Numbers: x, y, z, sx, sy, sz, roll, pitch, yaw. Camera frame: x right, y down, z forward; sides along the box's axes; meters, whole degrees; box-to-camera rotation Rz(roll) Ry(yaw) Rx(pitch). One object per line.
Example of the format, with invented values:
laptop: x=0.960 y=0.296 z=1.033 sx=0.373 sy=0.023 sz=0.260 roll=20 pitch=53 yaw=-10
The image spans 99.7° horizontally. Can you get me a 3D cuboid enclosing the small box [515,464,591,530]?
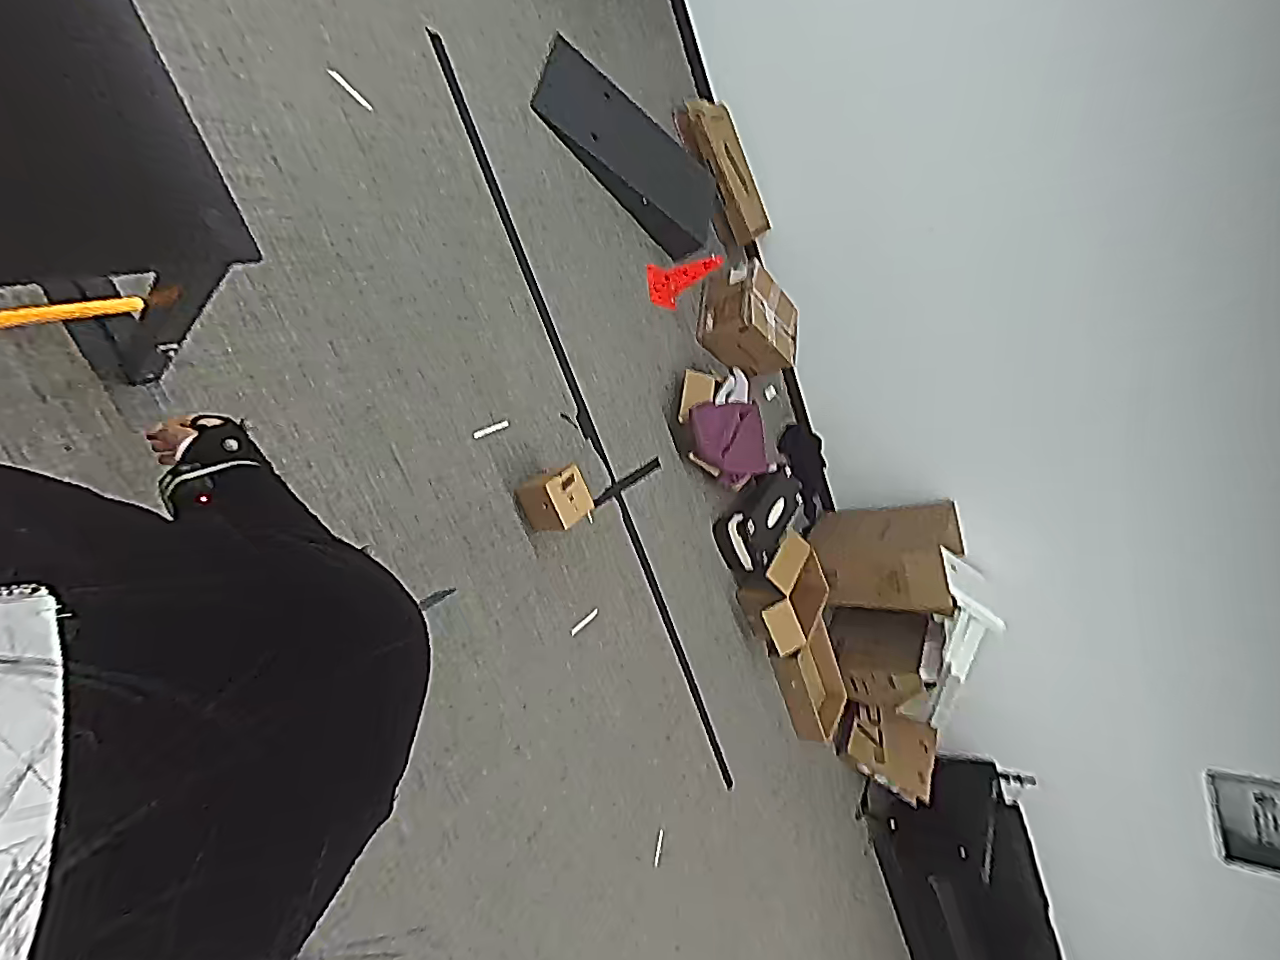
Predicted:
small box: x=-0.309 y=0.064 z=1.904 sx=0.168 sy=0.176 sz=0.179 roll=-39 pitch=113 yaw=-45
